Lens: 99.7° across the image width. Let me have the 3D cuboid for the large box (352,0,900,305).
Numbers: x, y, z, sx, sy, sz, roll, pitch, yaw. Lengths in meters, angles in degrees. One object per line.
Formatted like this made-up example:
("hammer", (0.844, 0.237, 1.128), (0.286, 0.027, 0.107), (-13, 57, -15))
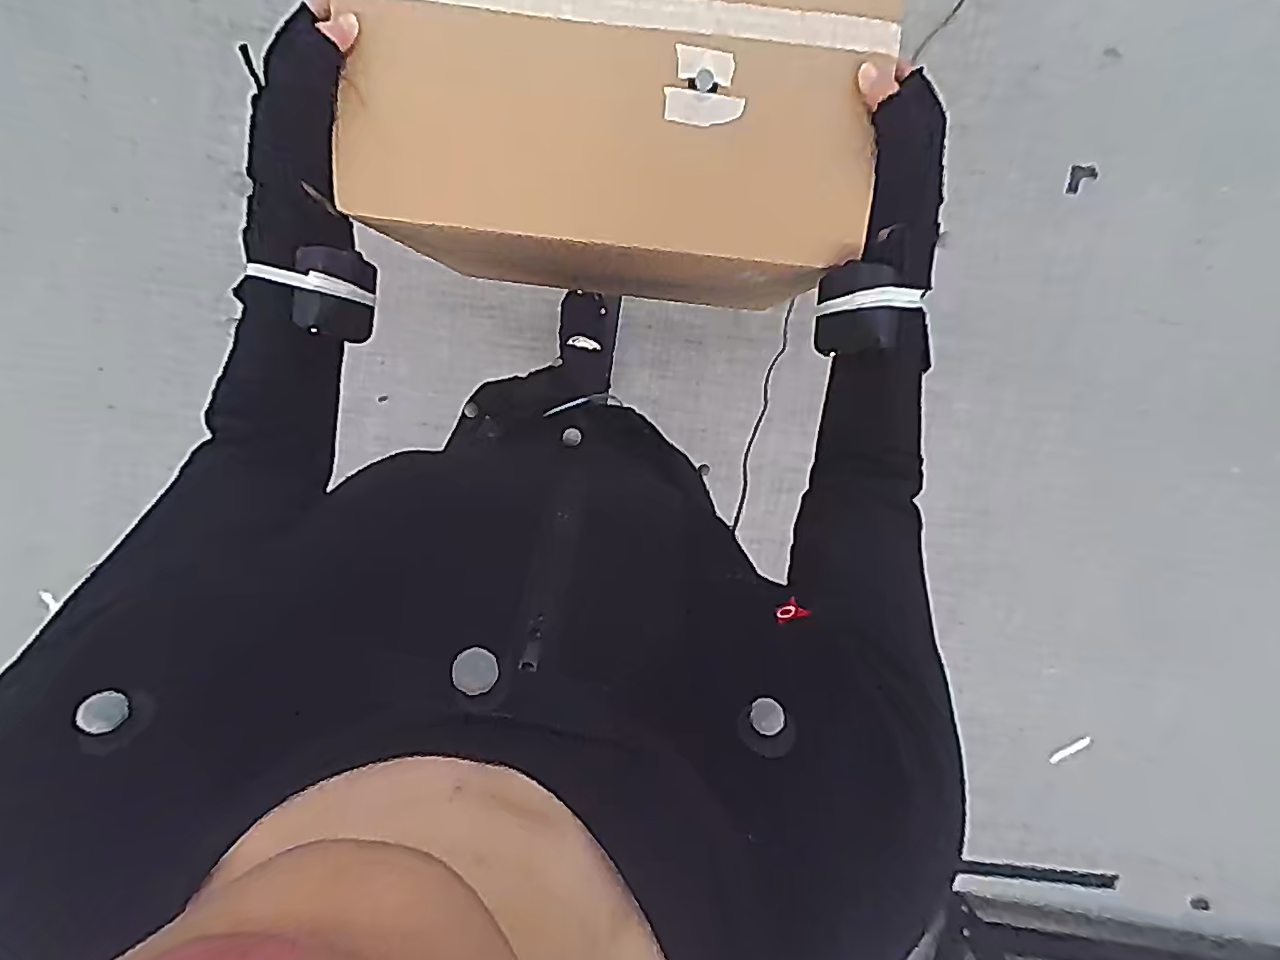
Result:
("large box", (-0.014, -0.367, 0.542), (0.408, 0.320, 0.320), (6, 103, -2))
